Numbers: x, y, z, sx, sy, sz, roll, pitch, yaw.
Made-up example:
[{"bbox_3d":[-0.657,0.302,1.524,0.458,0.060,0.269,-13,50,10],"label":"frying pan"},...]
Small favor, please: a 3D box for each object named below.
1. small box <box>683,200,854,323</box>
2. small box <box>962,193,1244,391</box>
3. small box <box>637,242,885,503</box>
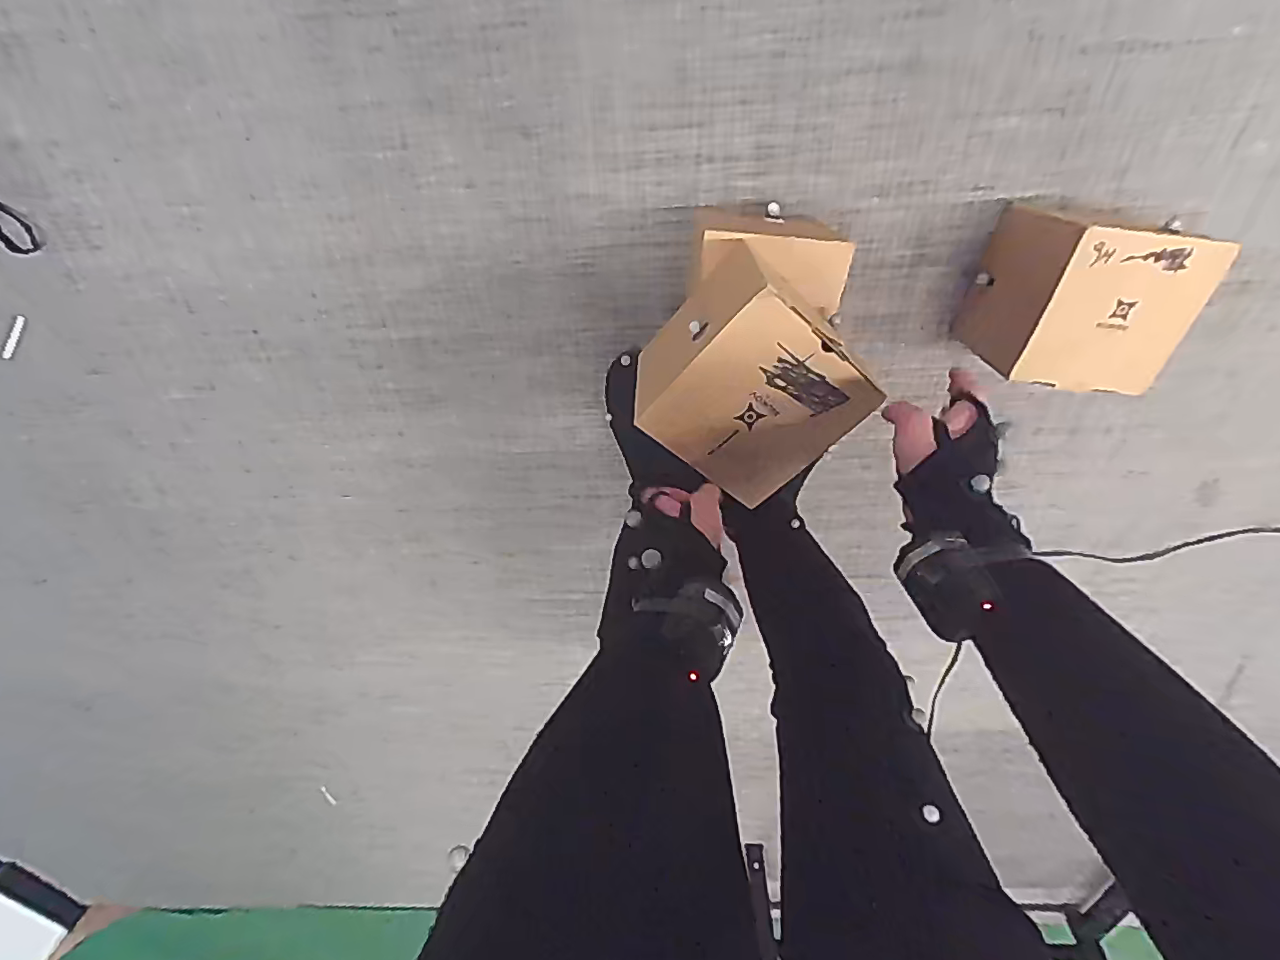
[{"bbox_3d":[0.144,-0.239,0.682,0.168,0.176,0.179,4,124,-1],"label":"small box"},{"bbox_3d":[0.532,-0.233,0.662,0.168,0.176,0.179,7,126,-1],"label":"small box"},{"bbox_3d":[0.112,-0.117,0.569,0.168,0.176,0.179,35,121,-20],"label":"small box"}]
